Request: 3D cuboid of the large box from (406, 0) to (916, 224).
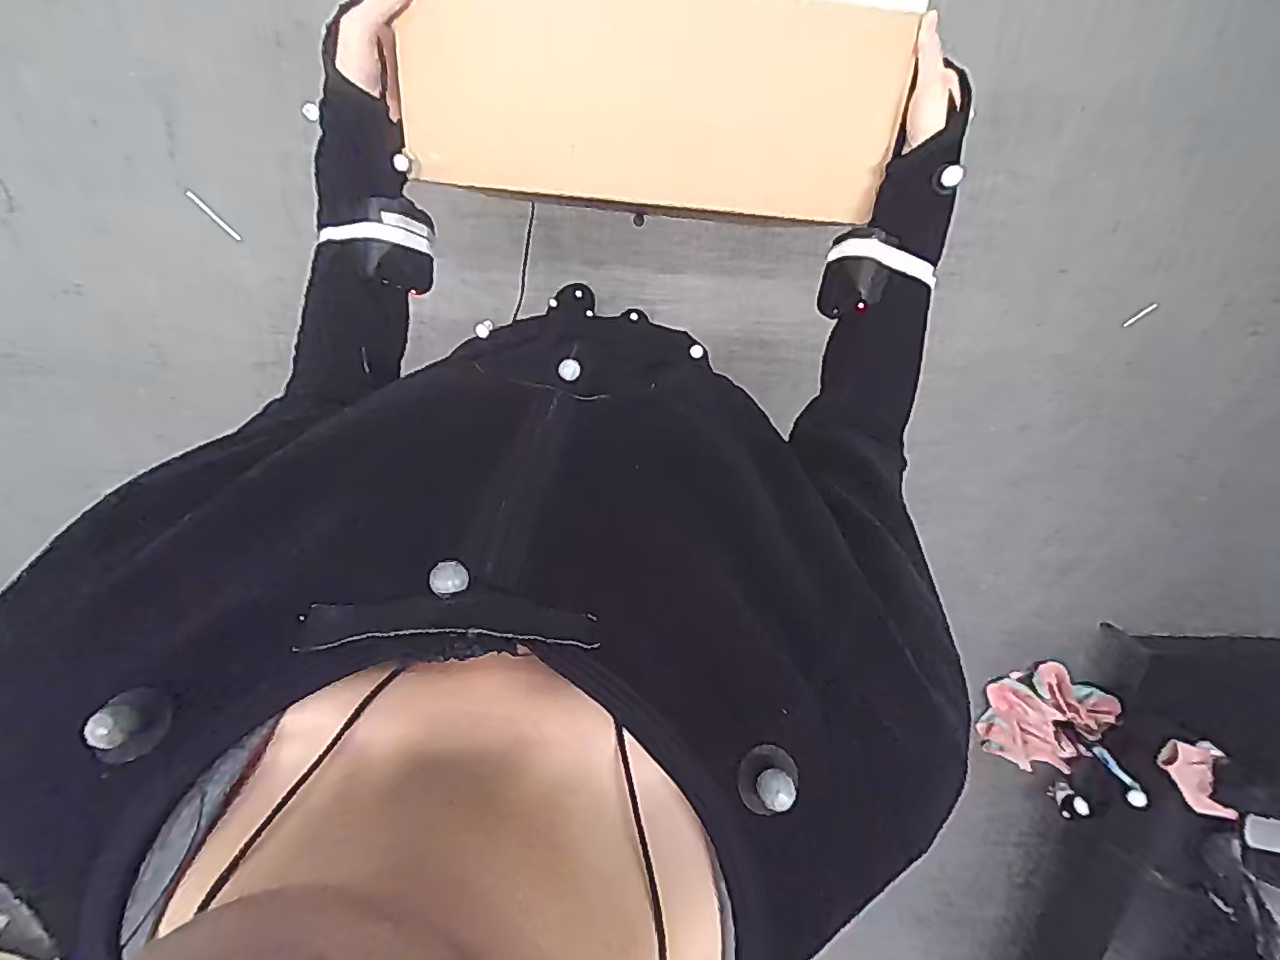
[{"bbox_3d":[0.016,-0.445,0.549,0.408,0.320,0.320,4,114,-4],"label":"large box"}]
